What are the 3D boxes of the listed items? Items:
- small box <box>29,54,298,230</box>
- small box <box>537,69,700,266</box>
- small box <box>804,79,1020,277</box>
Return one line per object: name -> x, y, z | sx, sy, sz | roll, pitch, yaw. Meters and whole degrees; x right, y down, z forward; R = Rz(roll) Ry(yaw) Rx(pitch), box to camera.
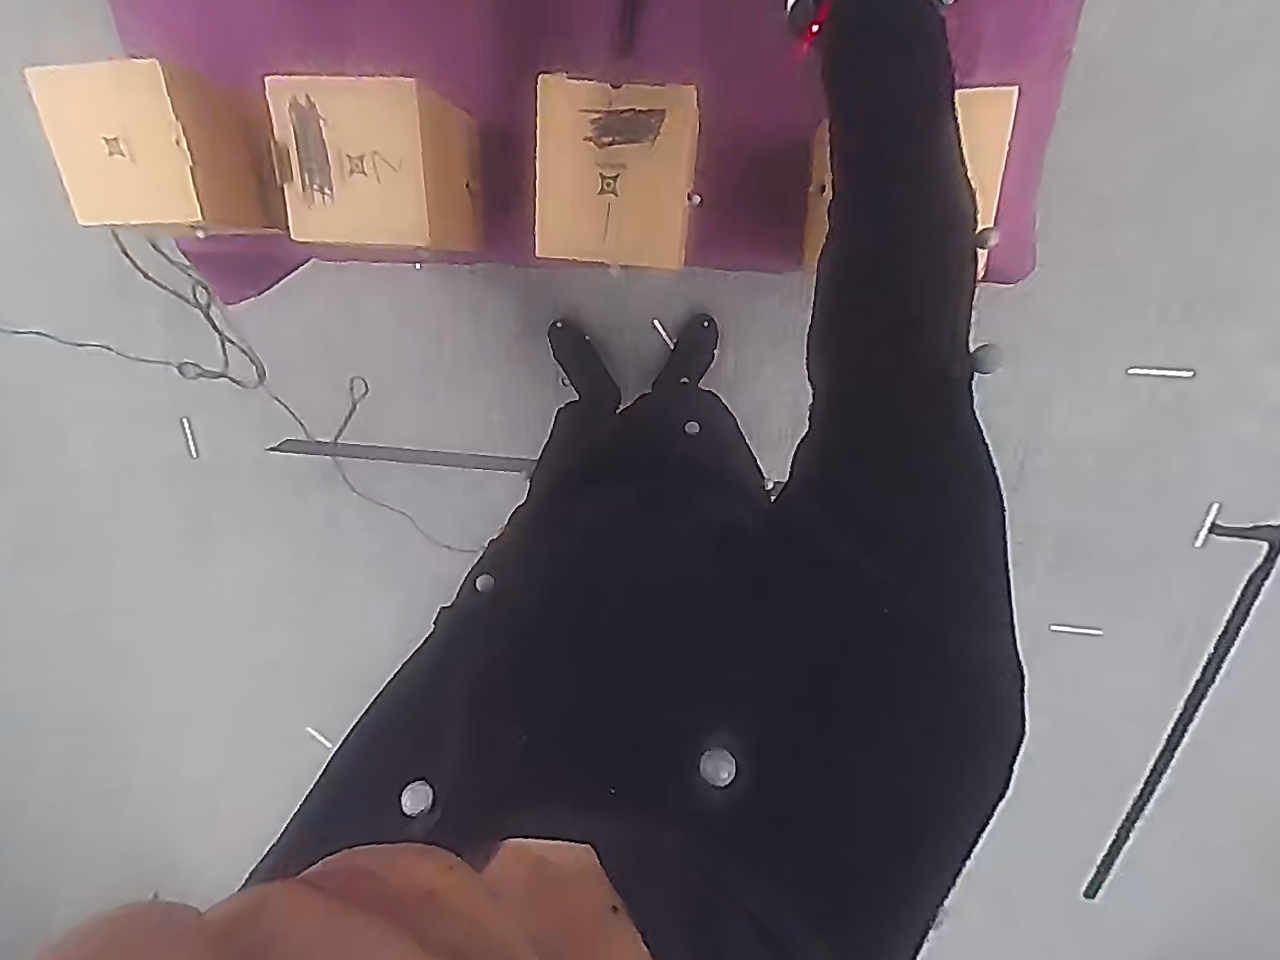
small box -> -0.595, -0.421, 0.703 | 0.179, 0.176, 0.168 | 1, 112, 6
small box -> -0.020, -0.360, 0.653 | 0.168, 0.176, 0.179 | 7, 113, 5
small box -> 0.290, -0.329, 0.623 | 0.168, 0.176, 0.179 | 2, 112, 8
